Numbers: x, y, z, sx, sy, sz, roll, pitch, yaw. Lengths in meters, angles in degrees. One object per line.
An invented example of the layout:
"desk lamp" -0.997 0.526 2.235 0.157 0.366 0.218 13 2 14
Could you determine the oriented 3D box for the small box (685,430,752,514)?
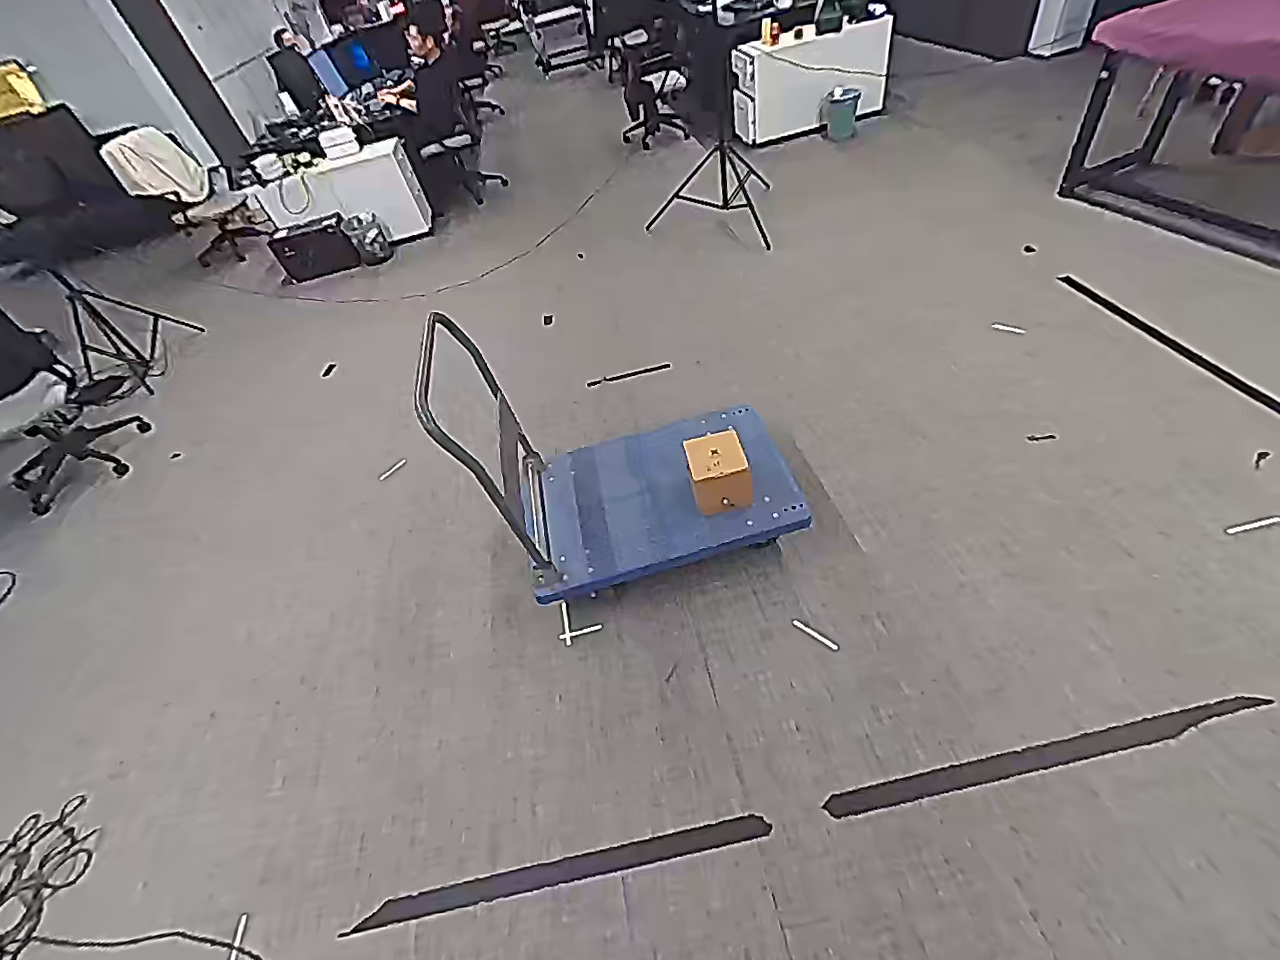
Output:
"small box" 0.242 -0.022 1.666 0.168 0.176 0.179 -14 46 3
